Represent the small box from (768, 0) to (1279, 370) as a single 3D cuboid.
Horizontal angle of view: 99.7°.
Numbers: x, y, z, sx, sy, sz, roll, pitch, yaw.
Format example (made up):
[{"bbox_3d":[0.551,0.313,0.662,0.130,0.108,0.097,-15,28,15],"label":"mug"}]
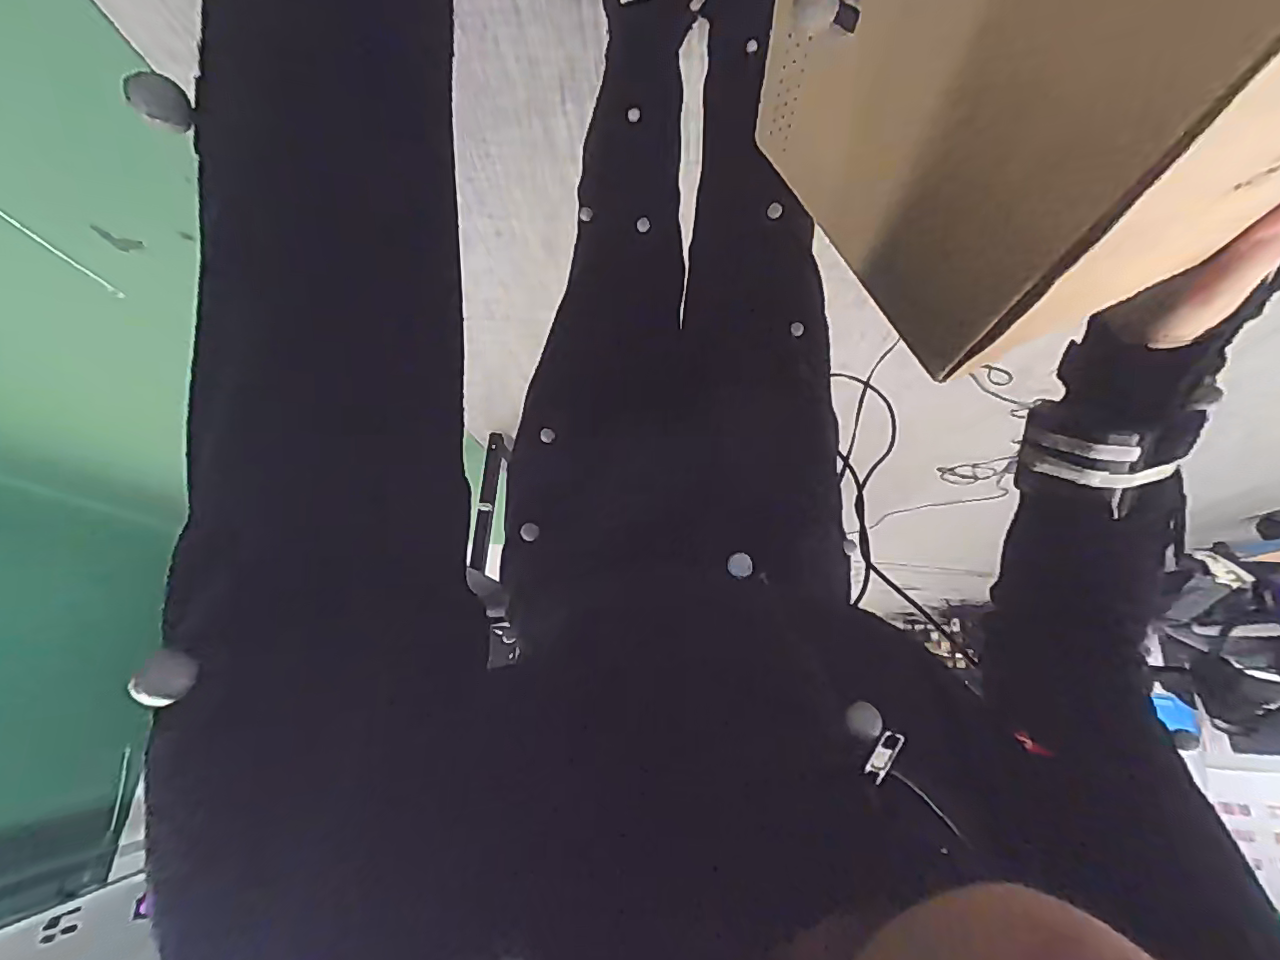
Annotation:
[{"bbox_3d":[0.163,-0.175,0.187,0.168,0.176,0.179,-25,163,-4],"label":"small box"}]
